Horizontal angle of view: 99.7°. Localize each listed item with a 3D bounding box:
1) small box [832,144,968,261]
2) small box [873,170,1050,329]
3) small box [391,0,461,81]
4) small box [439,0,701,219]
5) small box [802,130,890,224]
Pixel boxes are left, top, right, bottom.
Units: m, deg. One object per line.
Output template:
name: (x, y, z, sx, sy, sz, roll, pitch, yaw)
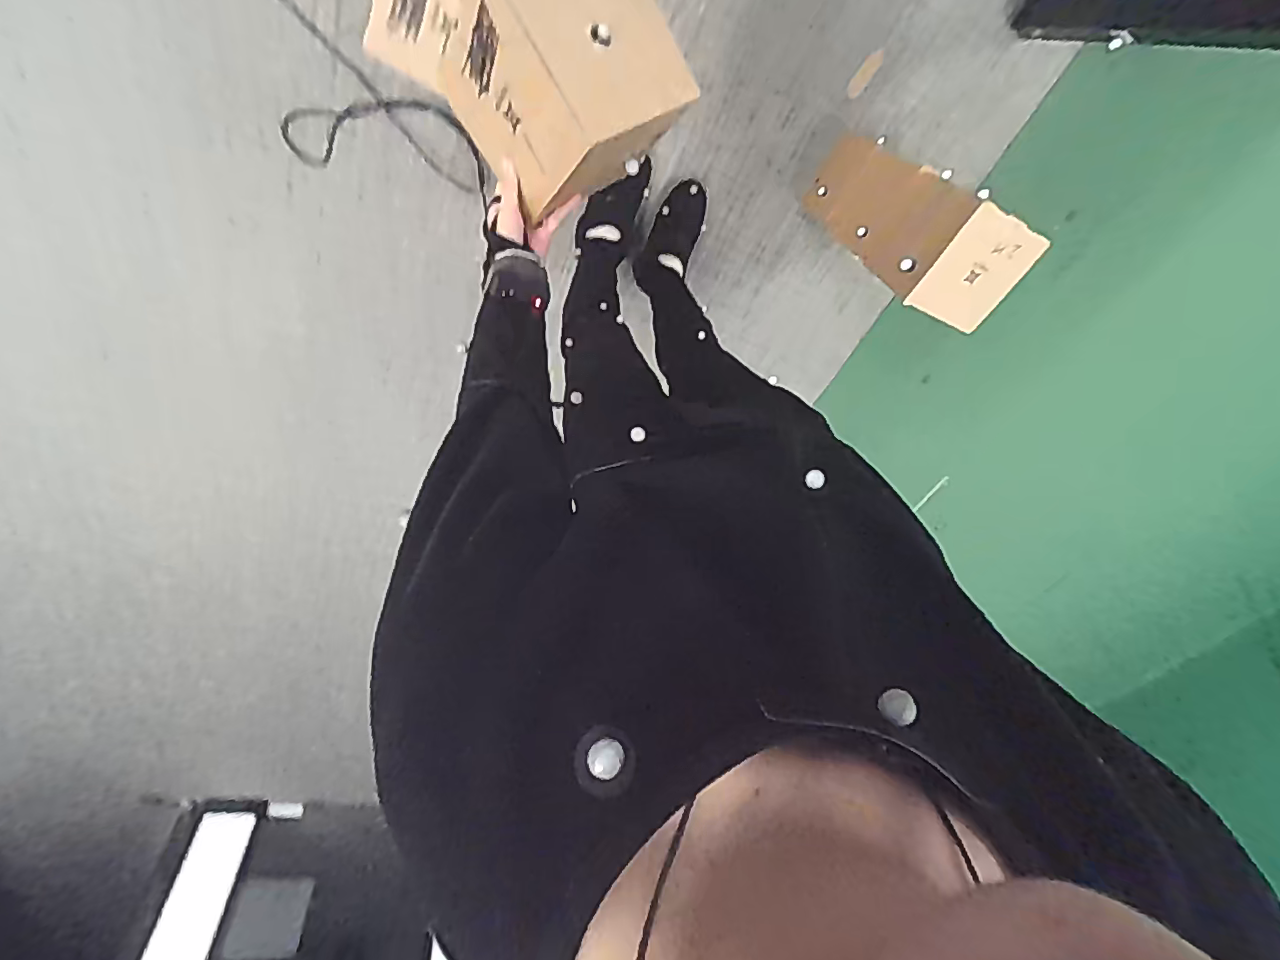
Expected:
small box: (0.509, -0.519, 1.052, 0.168, 0.176, 0.179, 14, 128, -21)
small box: (0.538, -0.401, 0.940, 0.168, 0.176, 0.179, 15, 127, -22)
small box: (-0.296, -0.776, 0.910, 0.168, 0.176, 0.179, 19, 126, -24)
small box: (-0.072, -0.417, 0.564, 0.176, 0.168, 0.179, -42, 109, -25)
small box: (0.485, -0.627, 1.170, 0.179, 0.176, 0.168, 17, 126, -23)
